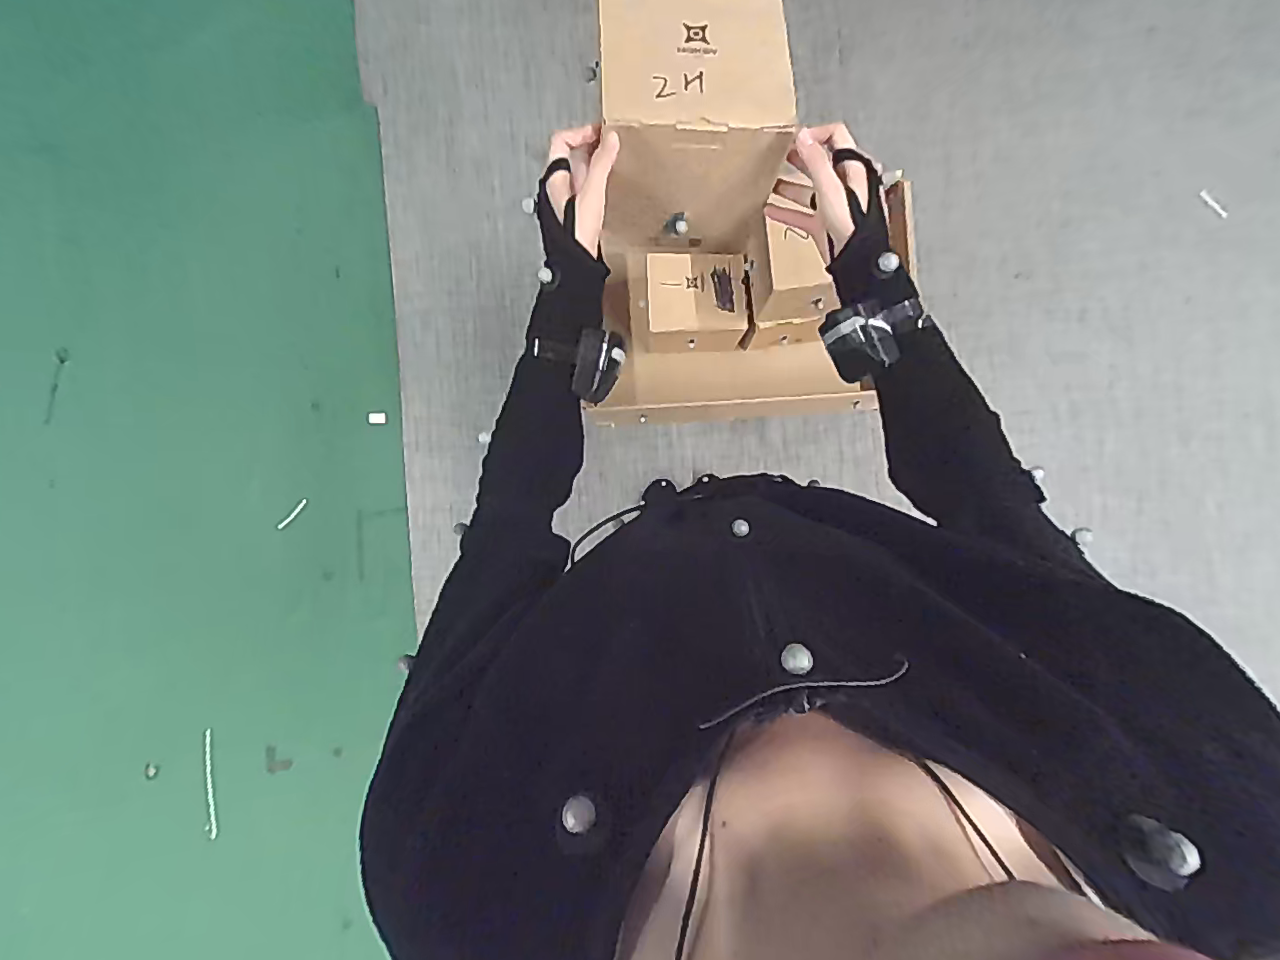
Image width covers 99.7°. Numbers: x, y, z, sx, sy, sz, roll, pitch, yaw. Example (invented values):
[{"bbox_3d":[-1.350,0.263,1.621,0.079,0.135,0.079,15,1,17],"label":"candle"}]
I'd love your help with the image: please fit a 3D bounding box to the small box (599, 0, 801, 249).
[{"bbox_3d":[0.043,-0.359,0.531,0.168,0.176,0.179,-1,77,-4],"label":"small box"}]
